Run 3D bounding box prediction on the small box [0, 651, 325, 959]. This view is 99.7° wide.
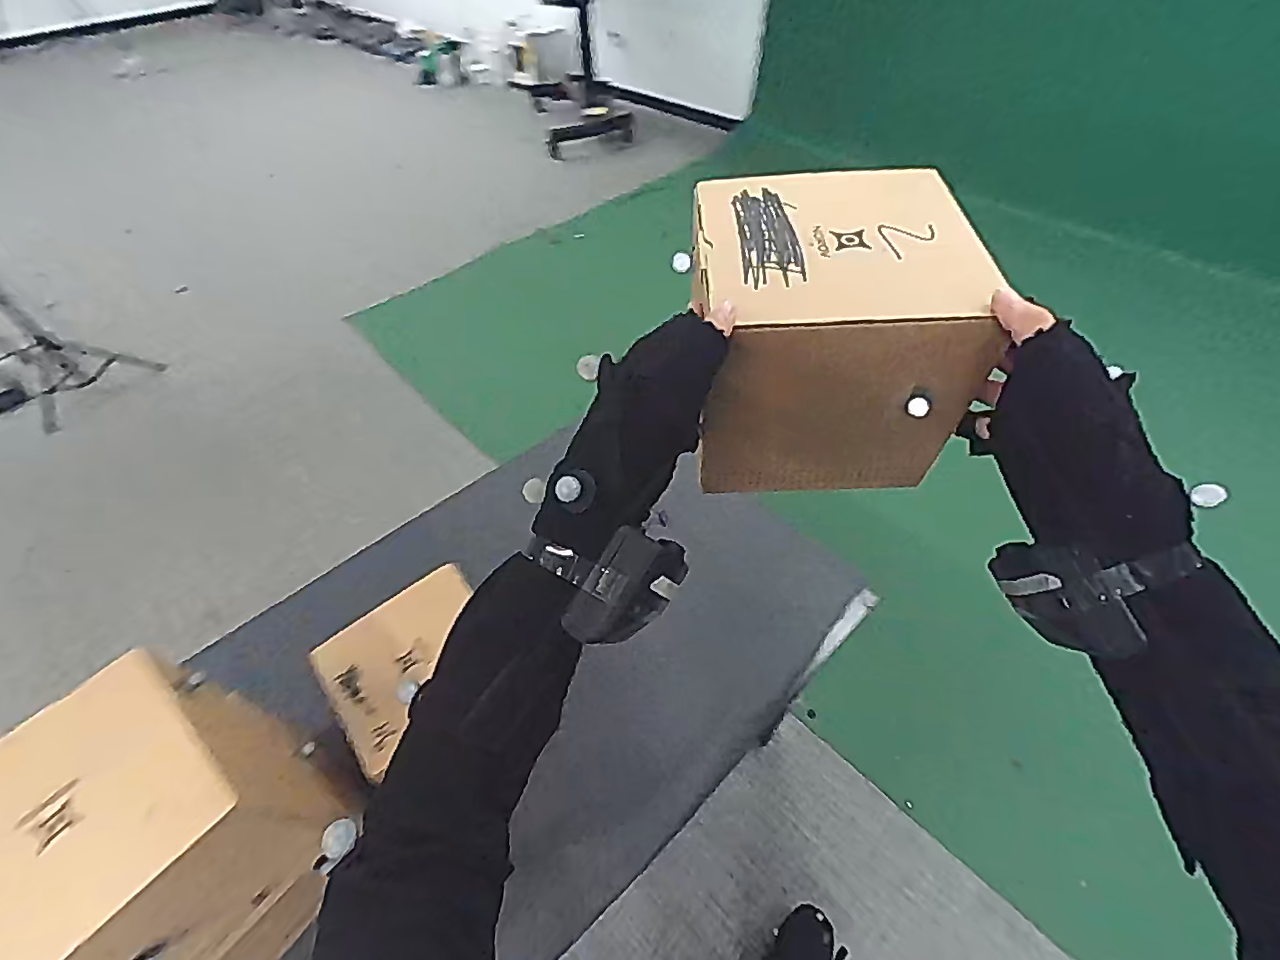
[{"bbox_3d":[-0.386,0.273,0.414,0.179,0.176,0.168,31,56,24],"label":"small box"}]
